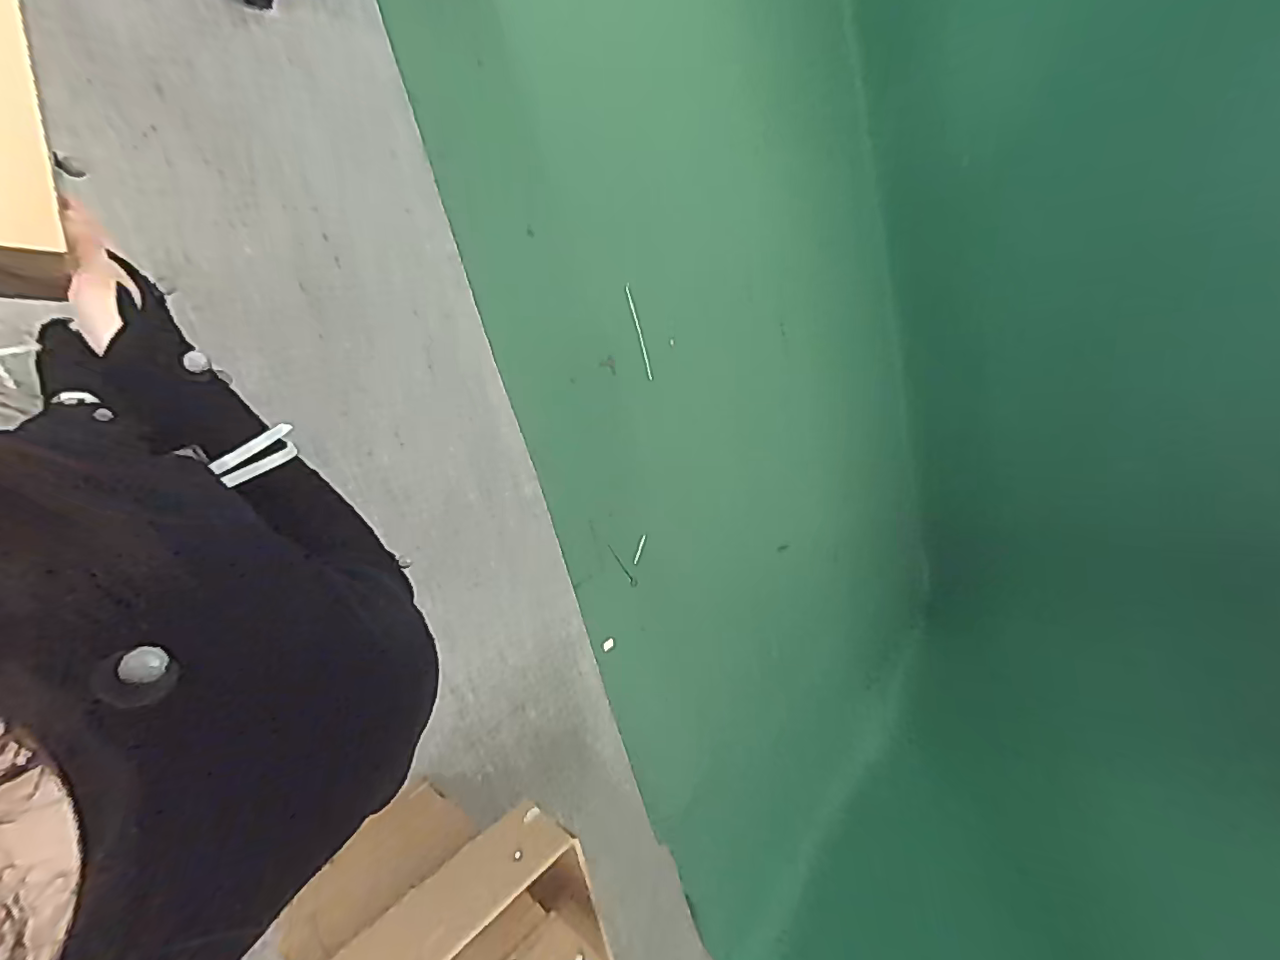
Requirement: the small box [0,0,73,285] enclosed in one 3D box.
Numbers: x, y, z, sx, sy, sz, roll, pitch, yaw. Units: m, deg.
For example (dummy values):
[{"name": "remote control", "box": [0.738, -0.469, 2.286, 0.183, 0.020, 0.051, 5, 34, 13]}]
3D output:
[{"name": "small box", "box": [-0.446, -0.211, 0.294, 0.179, 0.176, 0.168, -10, 101, -42]}]
